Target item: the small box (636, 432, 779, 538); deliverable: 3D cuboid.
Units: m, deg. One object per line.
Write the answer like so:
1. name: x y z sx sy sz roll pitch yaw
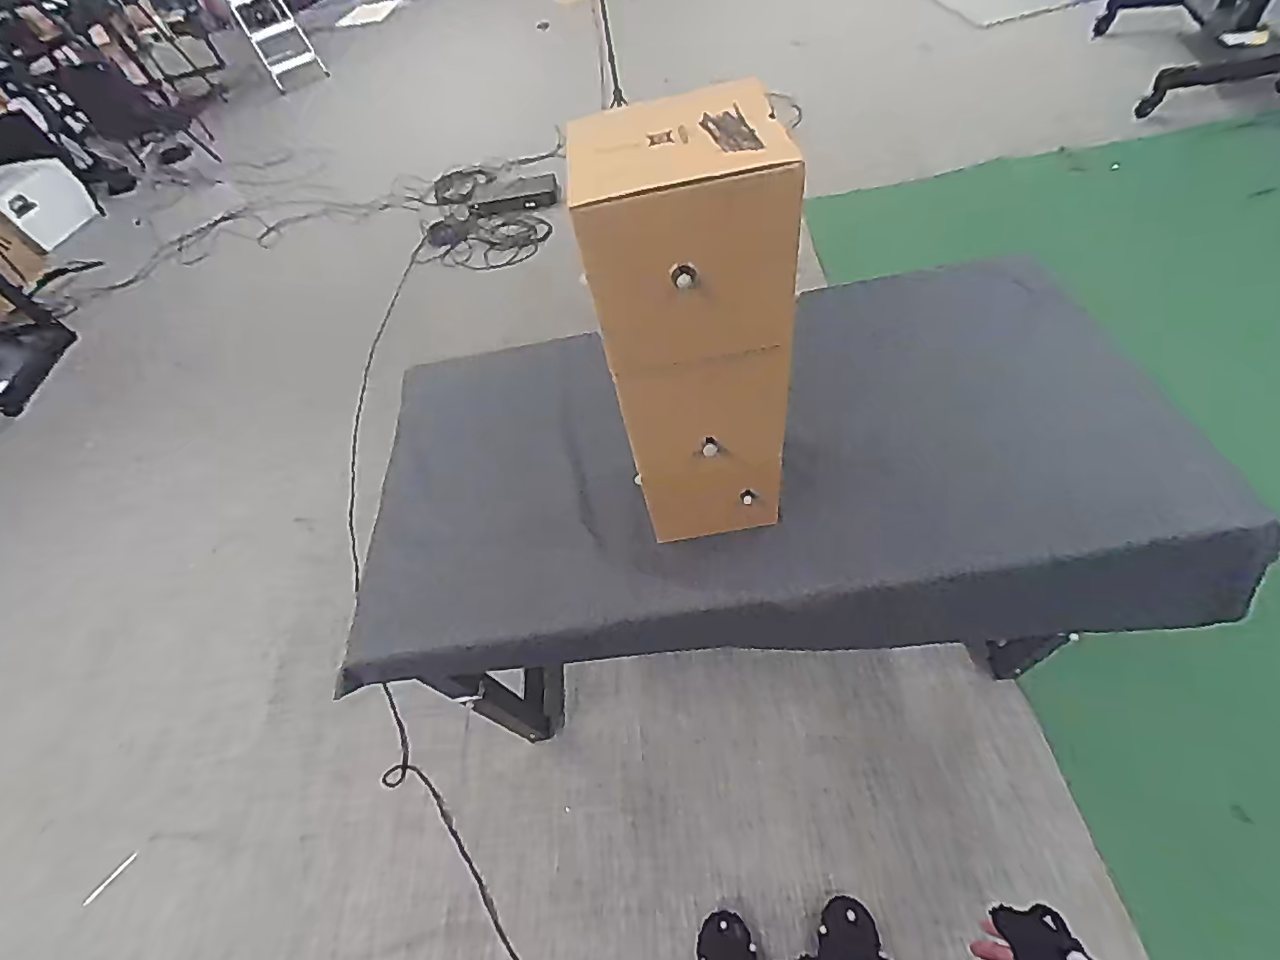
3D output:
1. small box: 0.088 -0.038 0.764 0.179 0.176 0.168 -12 53 5

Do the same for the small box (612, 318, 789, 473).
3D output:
1. small box: 0.061 -0.131 0.635 0.179 0.176 0.168 -13 54 3

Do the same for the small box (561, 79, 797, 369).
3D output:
1. small box: 0.034 -0.228 0.502 0.179 0.176 0.168 -10 53 5
